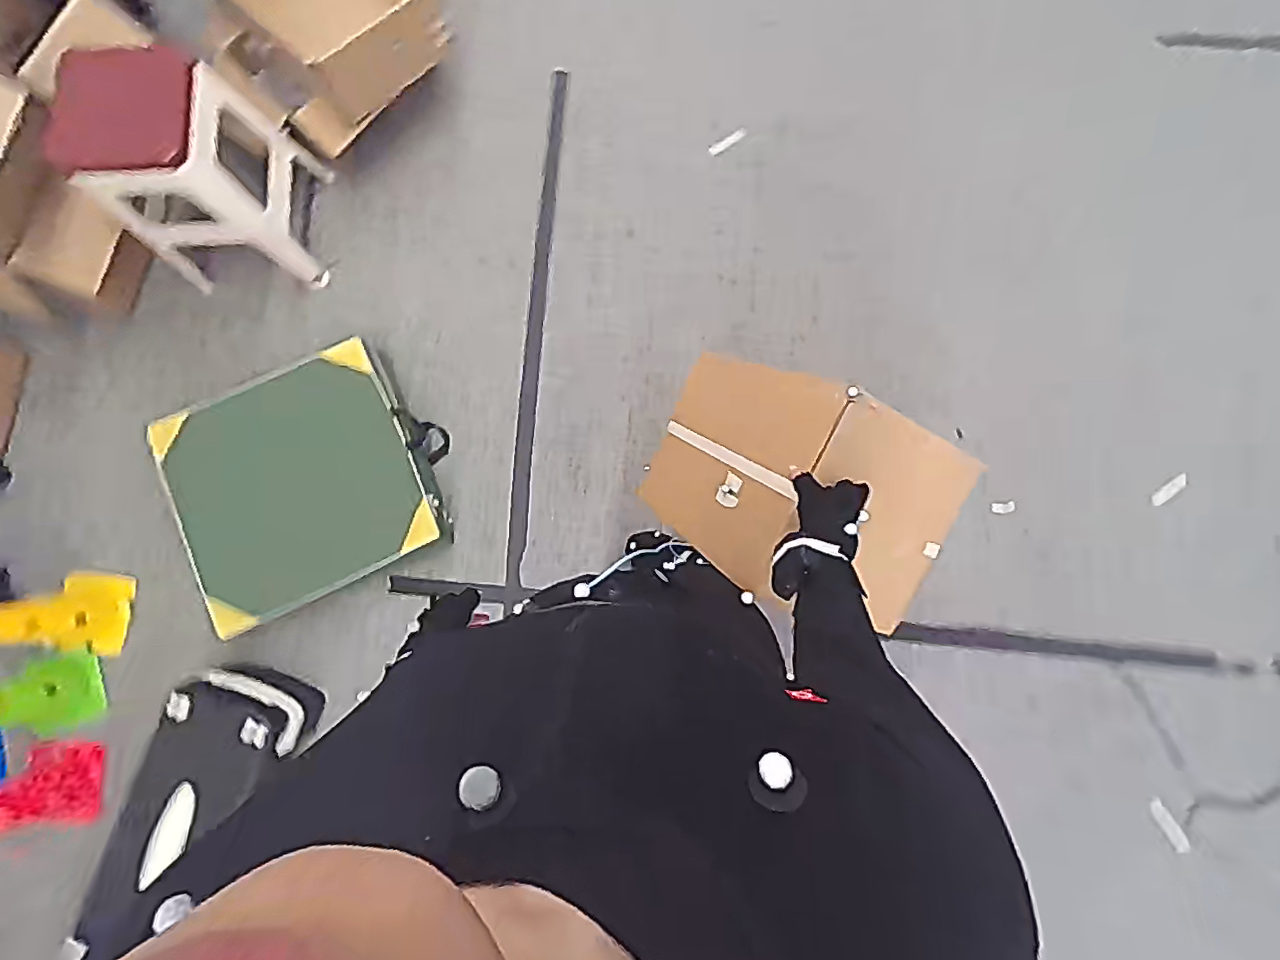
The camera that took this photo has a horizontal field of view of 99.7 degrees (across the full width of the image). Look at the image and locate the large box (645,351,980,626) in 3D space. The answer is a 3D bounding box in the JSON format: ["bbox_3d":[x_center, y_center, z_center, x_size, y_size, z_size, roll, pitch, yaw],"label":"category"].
[{"bbox_3d":[0.271,-0.001,0.957,0.320,0.408,0.320,19,102,-29],"label":"large box"}]
